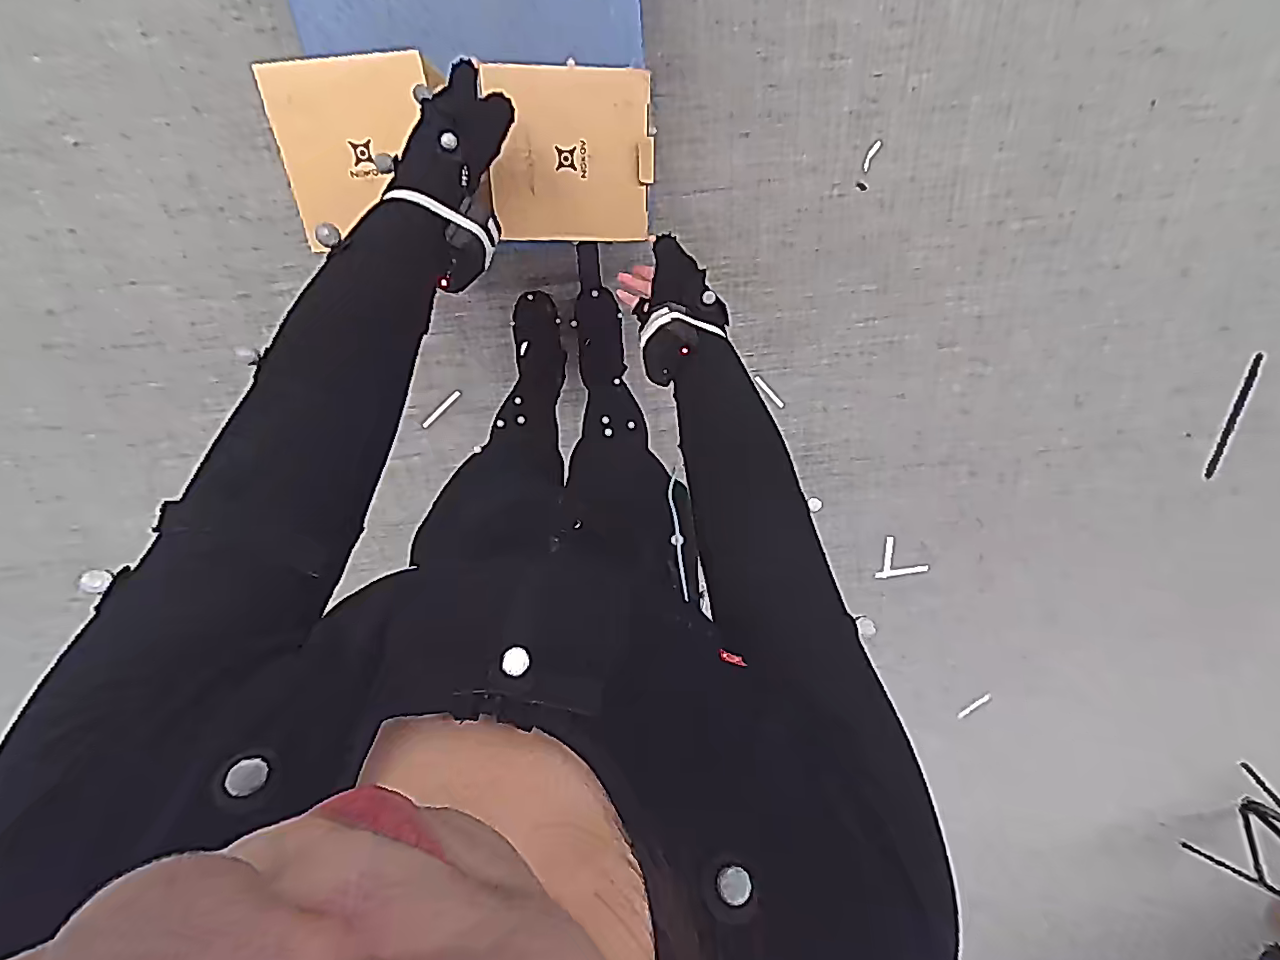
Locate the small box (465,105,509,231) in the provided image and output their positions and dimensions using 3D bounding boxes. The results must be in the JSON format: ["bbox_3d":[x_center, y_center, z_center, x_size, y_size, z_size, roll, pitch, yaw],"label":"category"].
[{"bbox_3d":[-0.331,-0.525,0.933,0.168,0.176,0.179,-7,117,-2],"label":"small box"}]

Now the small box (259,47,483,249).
[{"bbox_3d":[-0.296,-0.379,0.641,0.168,0.176,0.179,-7,118,-2],"label":"small box"}]

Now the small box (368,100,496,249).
[{"bbox_3d":[-0.319,-0.449,0.788,0.168,0.176,0.179,-9,118,-1],"label":"small box"}]

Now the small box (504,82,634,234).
[{"bbox_3d":[-0.099,-0.465,0.800,0.168,0.176,0.179,-4,118,-3],"label":"small box"}]
